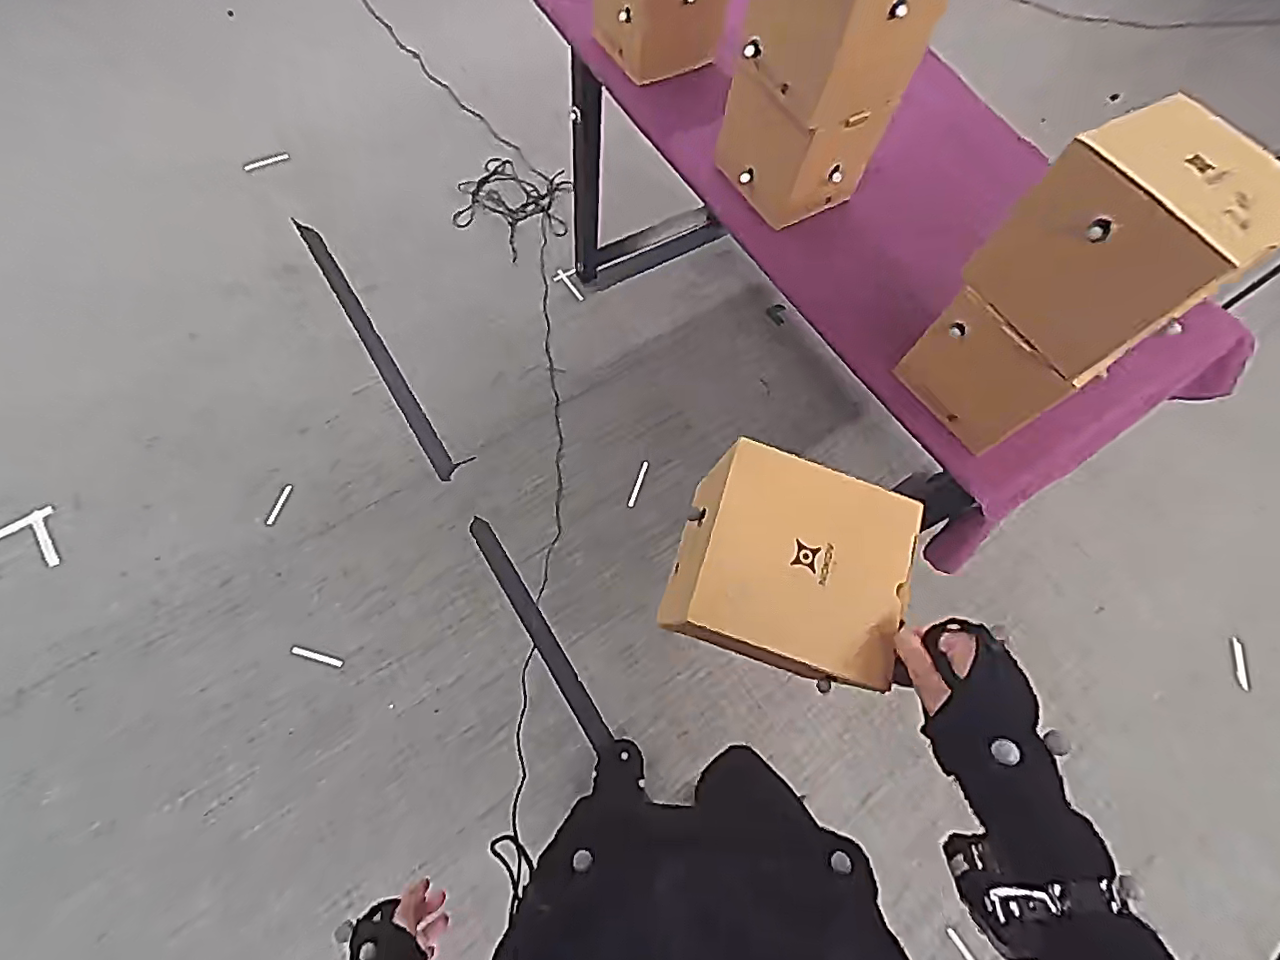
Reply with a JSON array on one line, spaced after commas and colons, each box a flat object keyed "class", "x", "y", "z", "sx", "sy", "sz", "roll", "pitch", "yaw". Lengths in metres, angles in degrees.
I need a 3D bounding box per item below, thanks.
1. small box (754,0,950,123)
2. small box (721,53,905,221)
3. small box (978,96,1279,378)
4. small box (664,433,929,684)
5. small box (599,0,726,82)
[{"class": "small box", "x": 0.262, "y": -0.585, "z": 0.670, "sx": 0.179, "sy": 0.176, "sz": 0.168, "roll": -28, "pitch": 73, "yaw": -16}, {"class": "small box", "x": 0.250, "y": -0.527, "z": 0.825, "sx": 0.168, "sy": 0.176, "sz": 0.179, "roll": -29, "pitch": 74, "yaw": -16}, {"class": "small box", "x": 0.500, "y": -0.238, "z": 0.550, "sx": 0.168, "sy": 0.176, "sz": 0.179, "roll": -27, "pitch": 72, "yaw": -16}, {"class": "small box", "x": 0.135, "y": 0.082, "z": 0.519, "sx": 0.179, "sy": 0.176, "sz": 0.168, "roll": 20, "pitch": 73, "yaw": -2}, {"class": "small box", "x": 0.039, "y": -0.829, "z": 0.929, "sx": 0.179, "sy": 0.176, "sz": 0.168, "roll": -29, "pitch": 75, "yaw": -17}]
